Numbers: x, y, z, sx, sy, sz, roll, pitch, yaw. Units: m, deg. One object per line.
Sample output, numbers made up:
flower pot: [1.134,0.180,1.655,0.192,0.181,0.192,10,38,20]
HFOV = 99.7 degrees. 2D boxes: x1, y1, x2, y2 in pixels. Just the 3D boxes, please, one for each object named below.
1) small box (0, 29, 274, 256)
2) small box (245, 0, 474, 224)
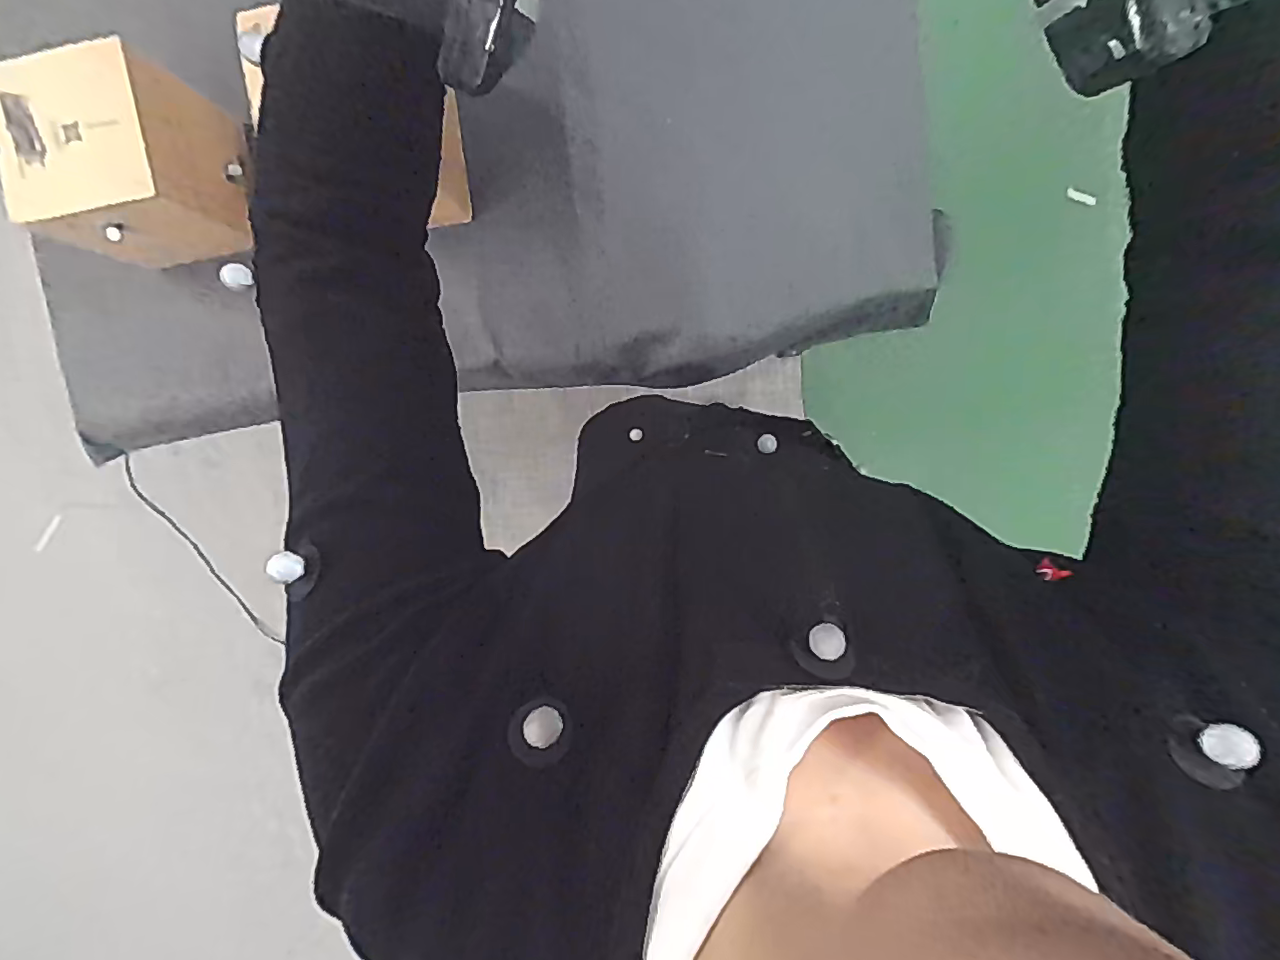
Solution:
small box: [-0.602,-0.391,0.663,0.179,0.176,0.168,-8,96,4]
small box: [-0.311,-0.421,0.639,0.168,0.176,0.179,-6,96,5]
